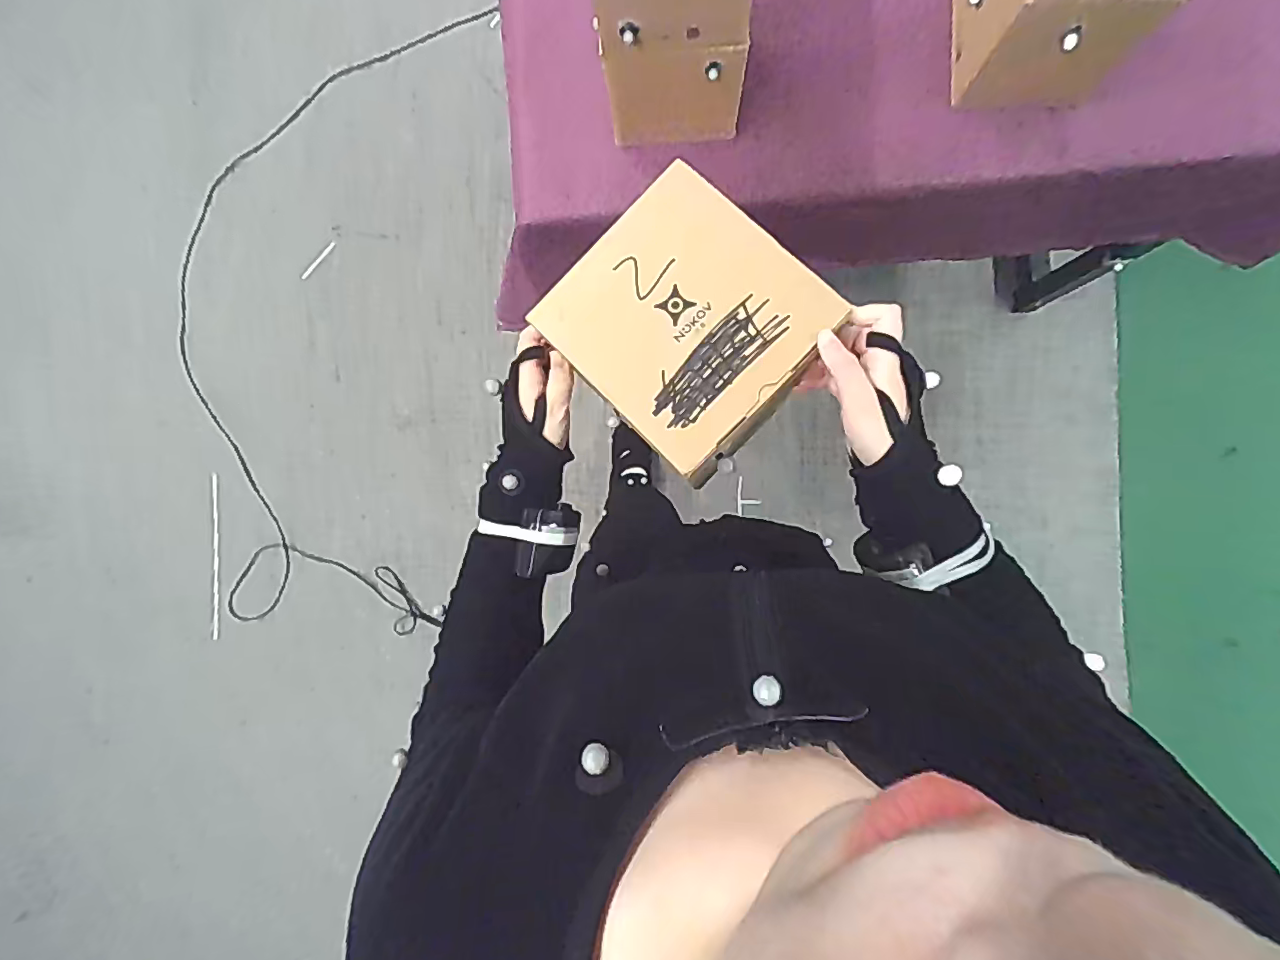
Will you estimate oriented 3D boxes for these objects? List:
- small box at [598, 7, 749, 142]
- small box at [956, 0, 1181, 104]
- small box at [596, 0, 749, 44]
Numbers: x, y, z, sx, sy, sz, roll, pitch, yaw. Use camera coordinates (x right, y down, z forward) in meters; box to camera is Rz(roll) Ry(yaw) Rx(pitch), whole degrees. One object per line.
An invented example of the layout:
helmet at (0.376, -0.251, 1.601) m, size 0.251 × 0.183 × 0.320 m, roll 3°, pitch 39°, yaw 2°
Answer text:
small box at (0.043, -0.575, 0.708) m, size 0.179 × 0.176 × 0.168 m, roll -2°, pitch 88°, yaw 4°
small box at (0.519, -0.601, 0.669) m, size 0.179 × 0.176 × 0.168 m, roll 2°, pitch 89°, yaw 5°
small box at (0.030, -0.584, 0.544) m, size 0.168 × 0.176 × 0.179 m, roll -3°, pitch 87°, yaw 4°
